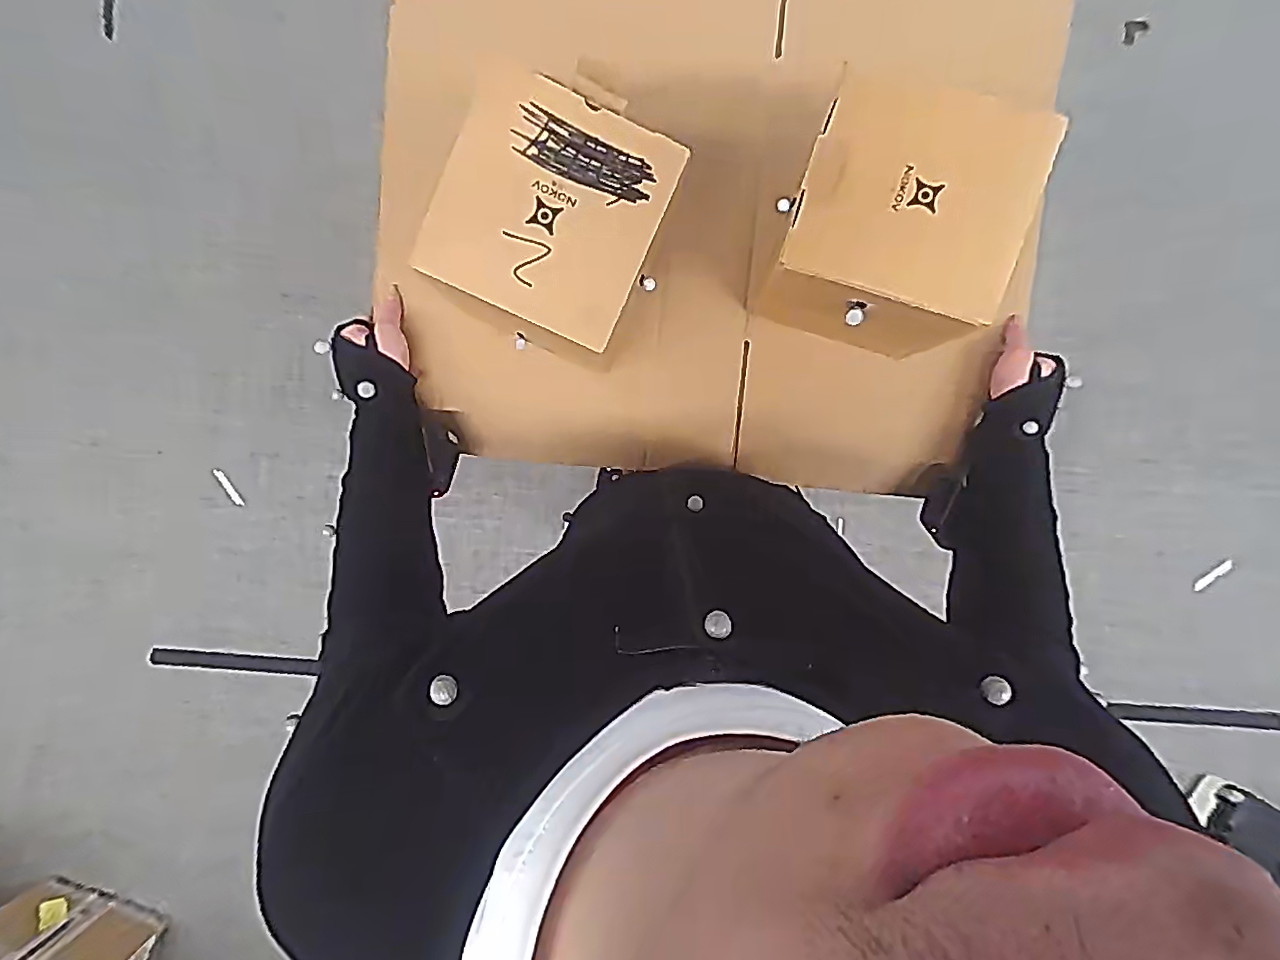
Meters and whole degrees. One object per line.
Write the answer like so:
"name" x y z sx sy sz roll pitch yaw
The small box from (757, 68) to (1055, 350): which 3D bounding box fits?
"small box" 0.227 -0.233 0.514 0.179 0.176 0.168 18 95 4
